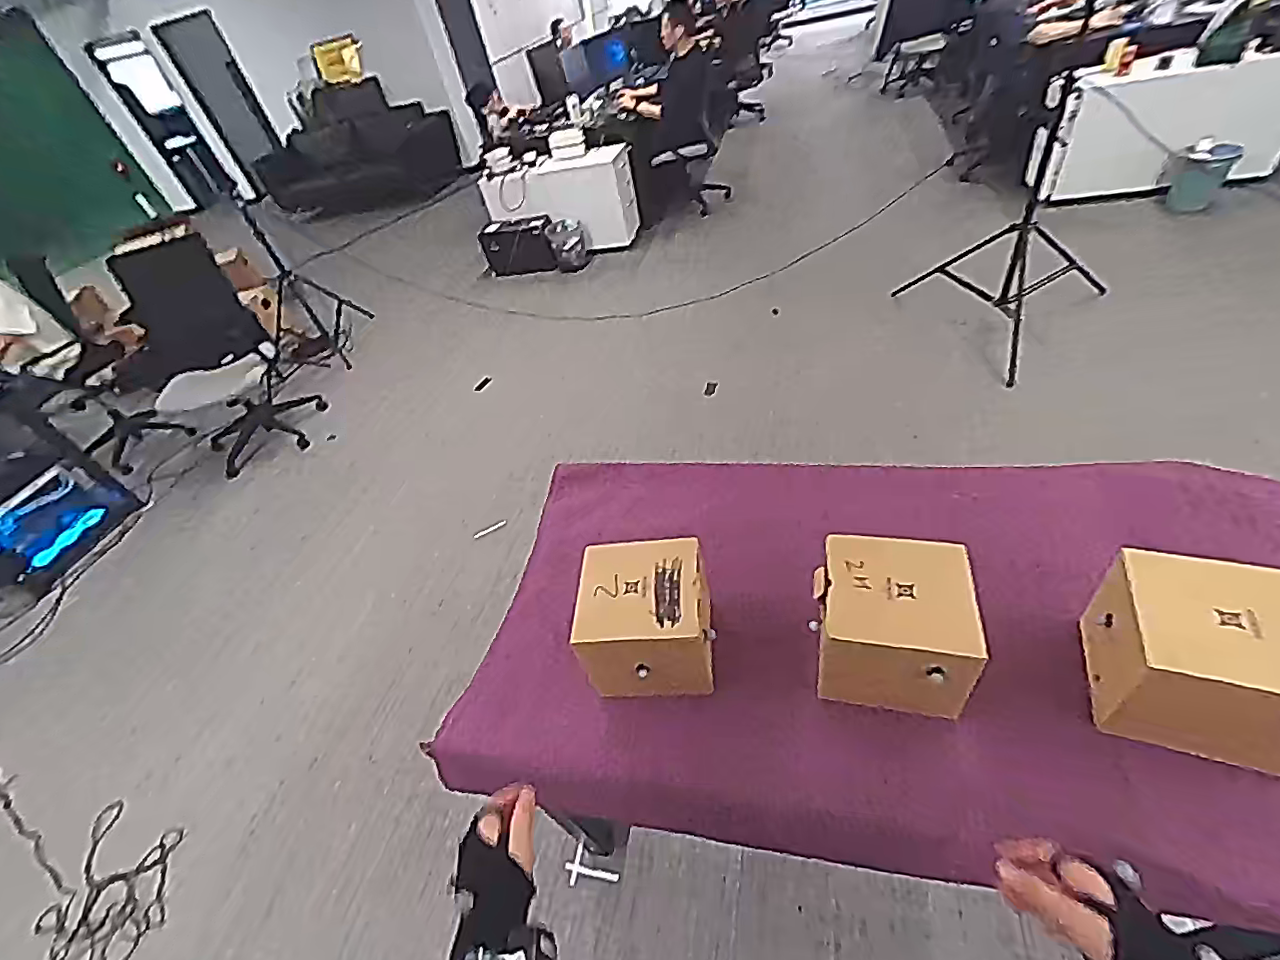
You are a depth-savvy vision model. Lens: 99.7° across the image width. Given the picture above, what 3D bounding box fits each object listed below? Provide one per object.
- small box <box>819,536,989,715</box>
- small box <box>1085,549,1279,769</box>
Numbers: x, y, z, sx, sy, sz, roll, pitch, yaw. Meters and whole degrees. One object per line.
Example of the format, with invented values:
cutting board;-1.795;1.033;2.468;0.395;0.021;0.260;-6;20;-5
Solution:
small box;0.342;0.198;0.735;0.179;0.176;0.168;2;45;18
small box;0.656;0.208;0.633;0.179;0.176;0.168;8;47;24
